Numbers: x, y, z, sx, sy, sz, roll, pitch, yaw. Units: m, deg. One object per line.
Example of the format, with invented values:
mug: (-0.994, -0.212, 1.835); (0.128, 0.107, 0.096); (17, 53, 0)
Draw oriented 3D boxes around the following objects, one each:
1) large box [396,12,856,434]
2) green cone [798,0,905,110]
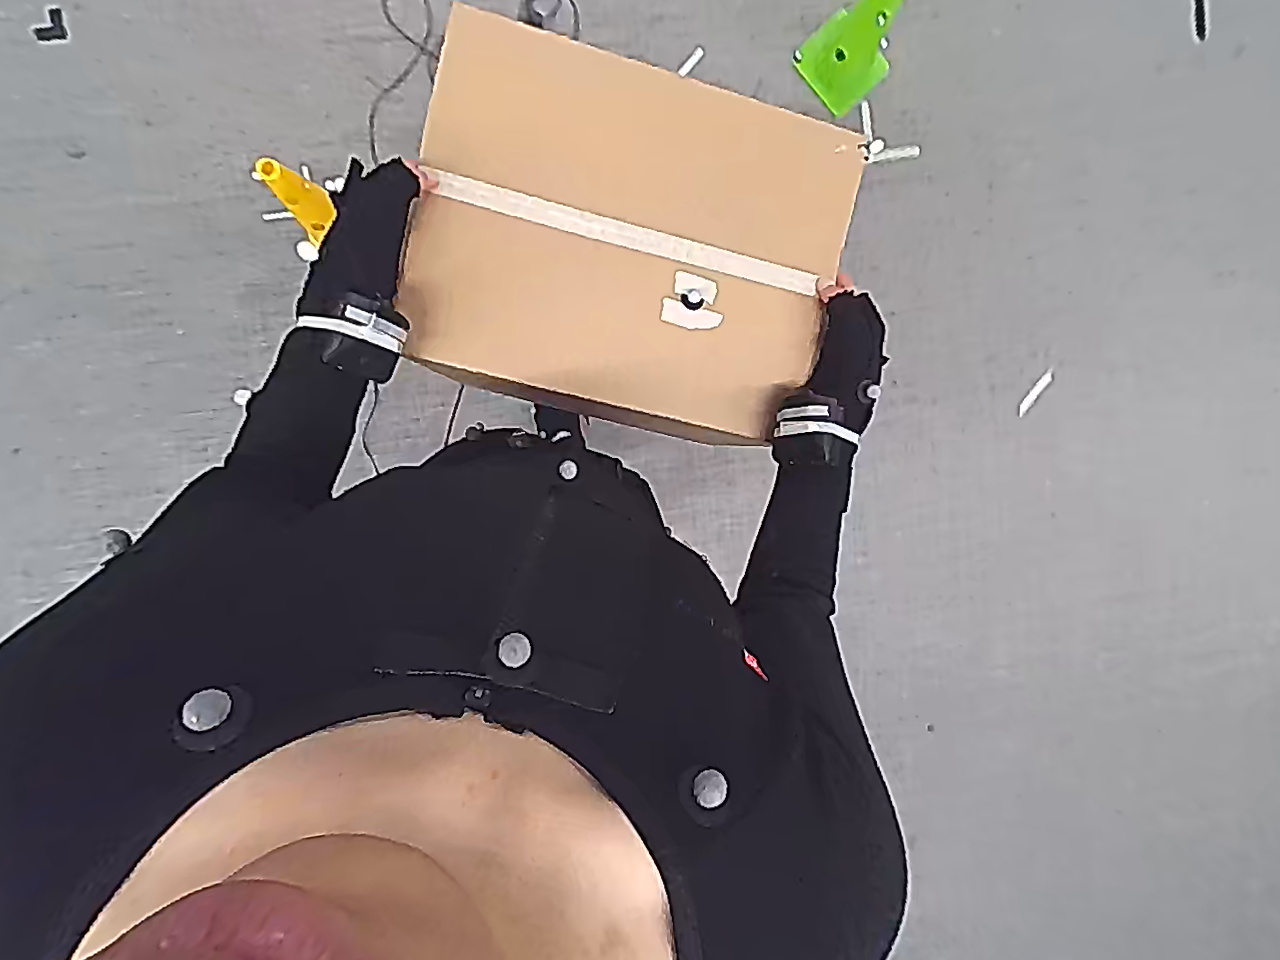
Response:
large box: (-0.025, -0.247, 0.663); (0.408, 0.320, 0.320); (12, 93, -8)
green cone: (0.558, -1.092, 1.251); (0.202, 0.368, 0.200); (-45, 98, -1)
